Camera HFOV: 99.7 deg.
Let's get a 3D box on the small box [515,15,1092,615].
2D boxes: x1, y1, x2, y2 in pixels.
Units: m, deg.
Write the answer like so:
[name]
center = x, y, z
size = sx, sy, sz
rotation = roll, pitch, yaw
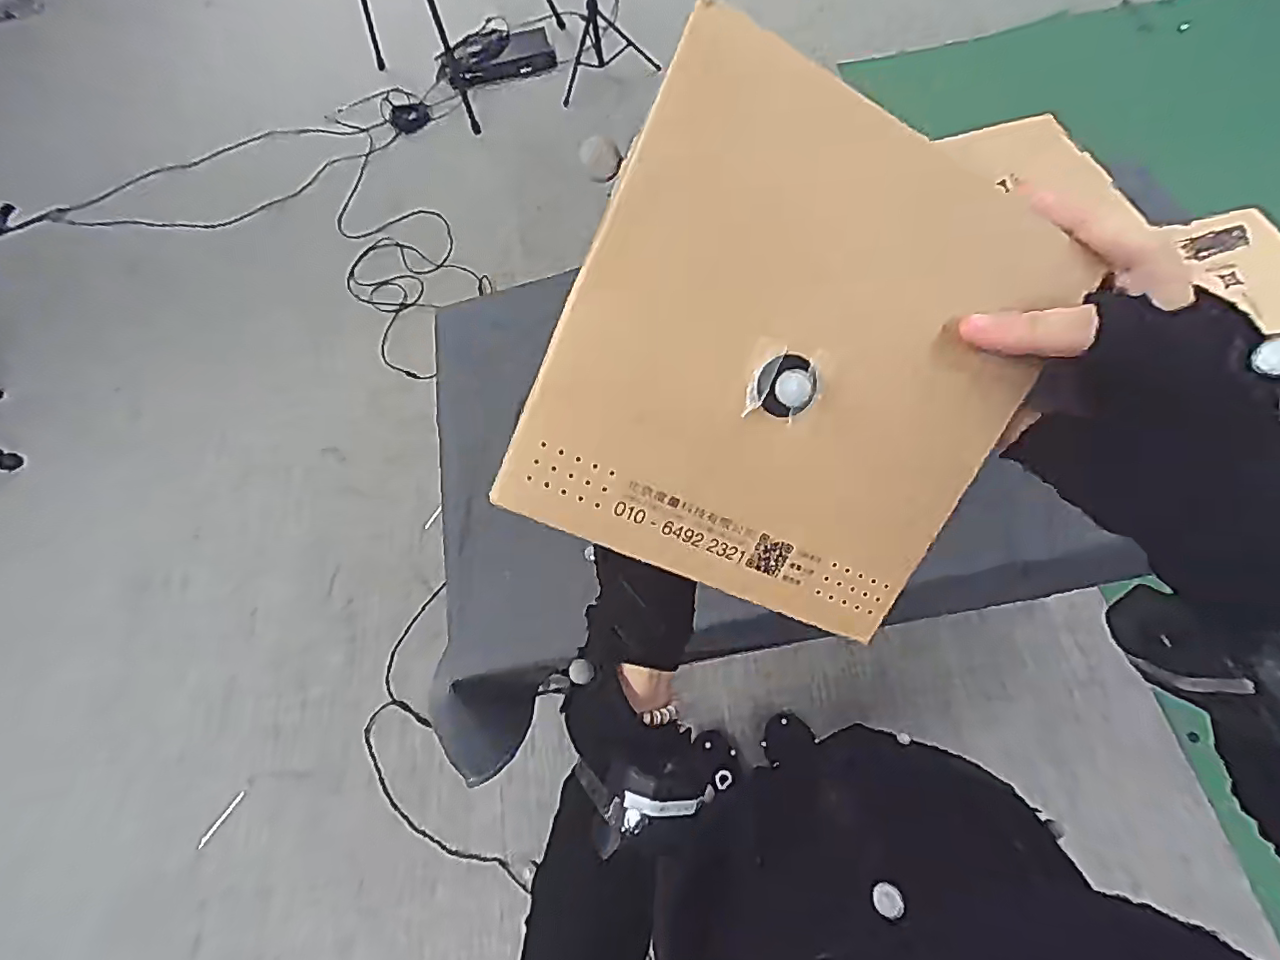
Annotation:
[small box]
center = 0.047, -0.060, 0.272
size = 0.168, 0.179, 0.176
rotation = 22, 103, -13
